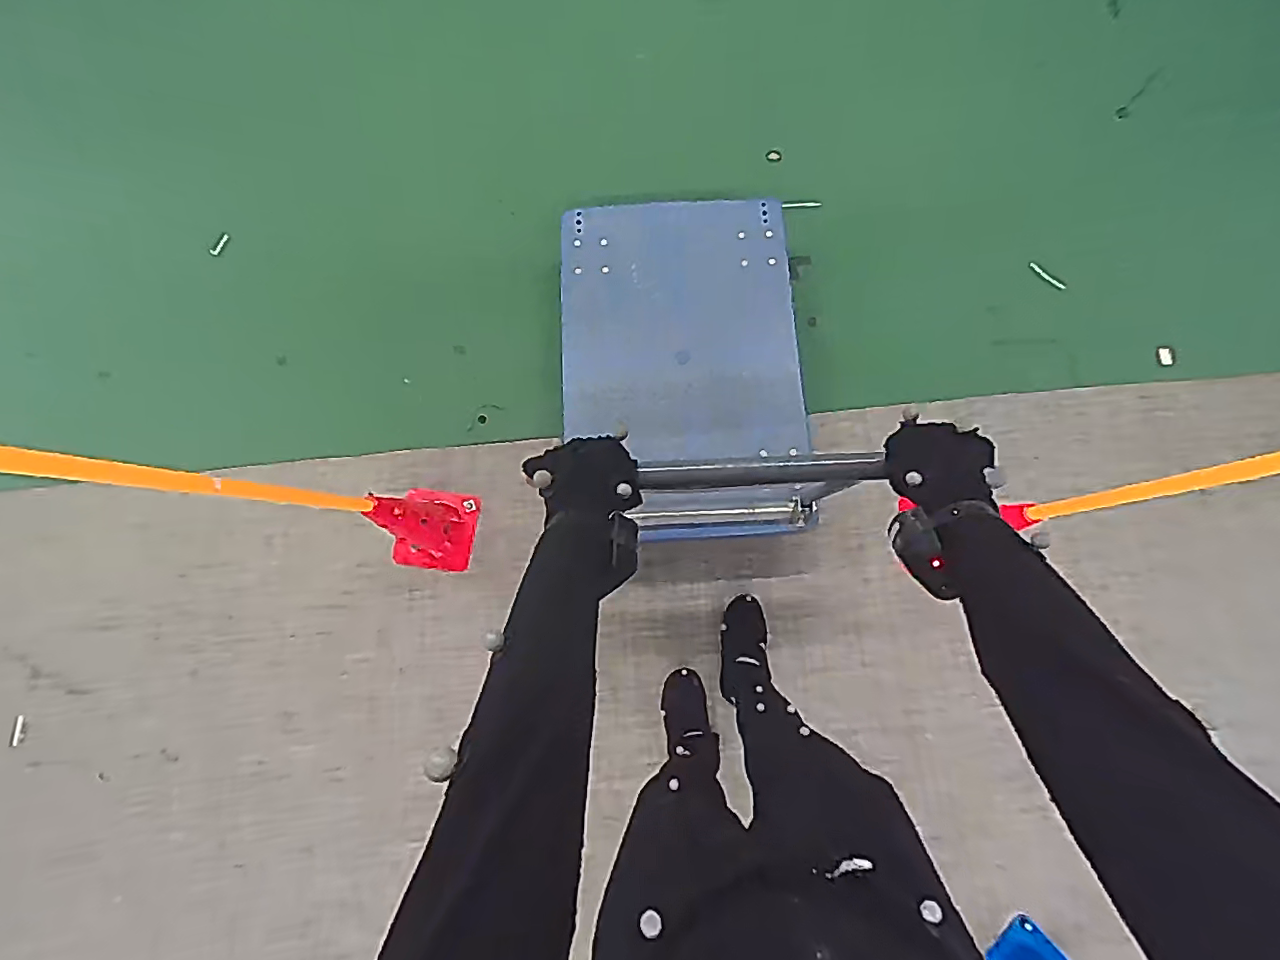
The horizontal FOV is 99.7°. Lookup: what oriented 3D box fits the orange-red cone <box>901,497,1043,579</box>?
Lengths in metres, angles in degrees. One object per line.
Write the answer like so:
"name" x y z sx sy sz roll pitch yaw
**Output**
"orange-red cone" 0.764 0.109 1.212 0.198 0.360 0.199 5 78 2
